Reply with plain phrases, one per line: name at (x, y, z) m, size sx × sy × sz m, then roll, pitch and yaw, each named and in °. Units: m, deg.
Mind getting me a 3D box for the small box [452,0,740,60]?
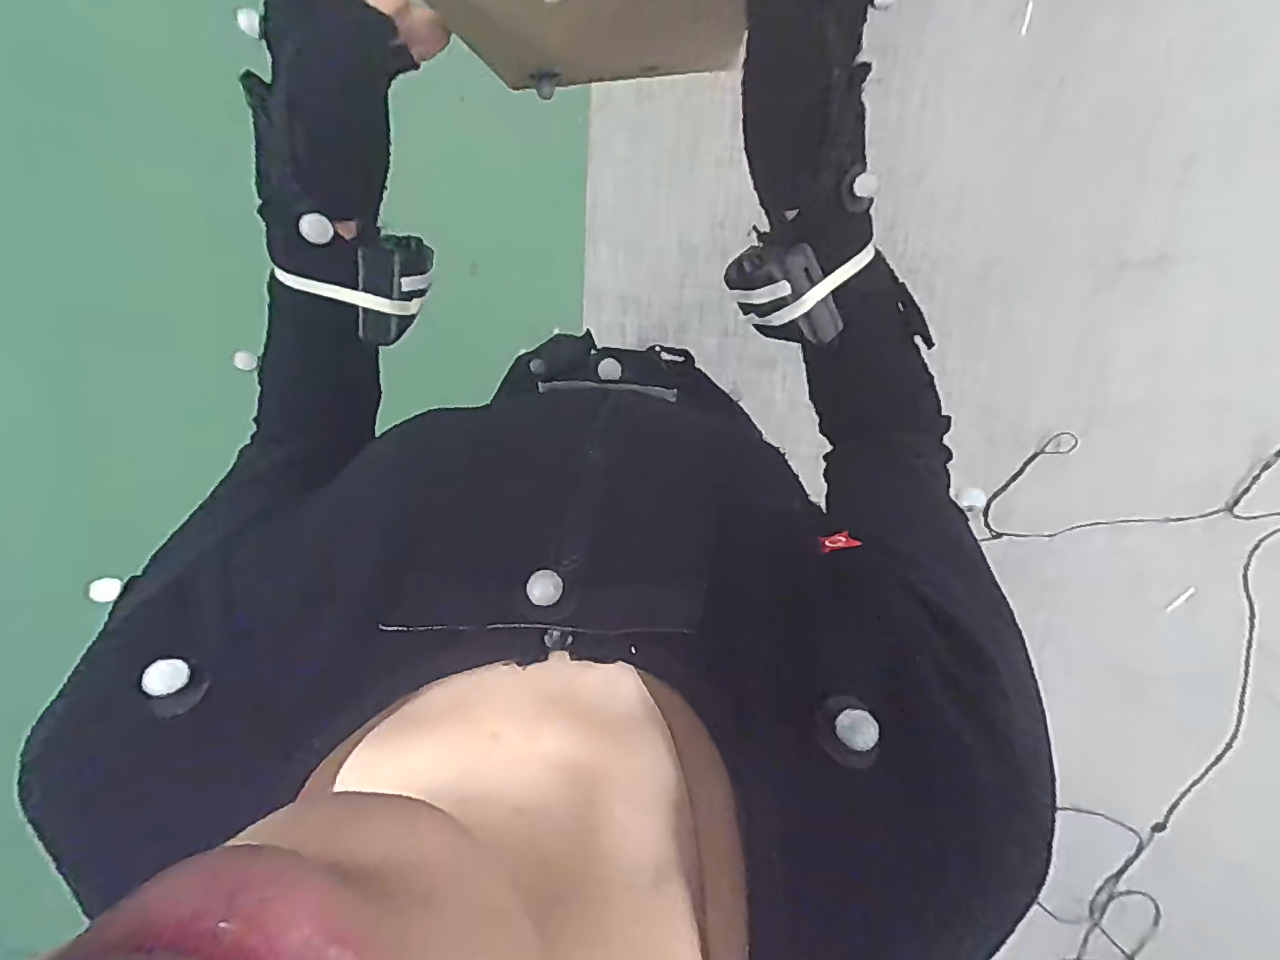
small box at (-0.026, -0.344, 0.273) m, size 0.168 × 0.176 × 0.179 m, roll -1°, pitch 110°, yaw 5°
